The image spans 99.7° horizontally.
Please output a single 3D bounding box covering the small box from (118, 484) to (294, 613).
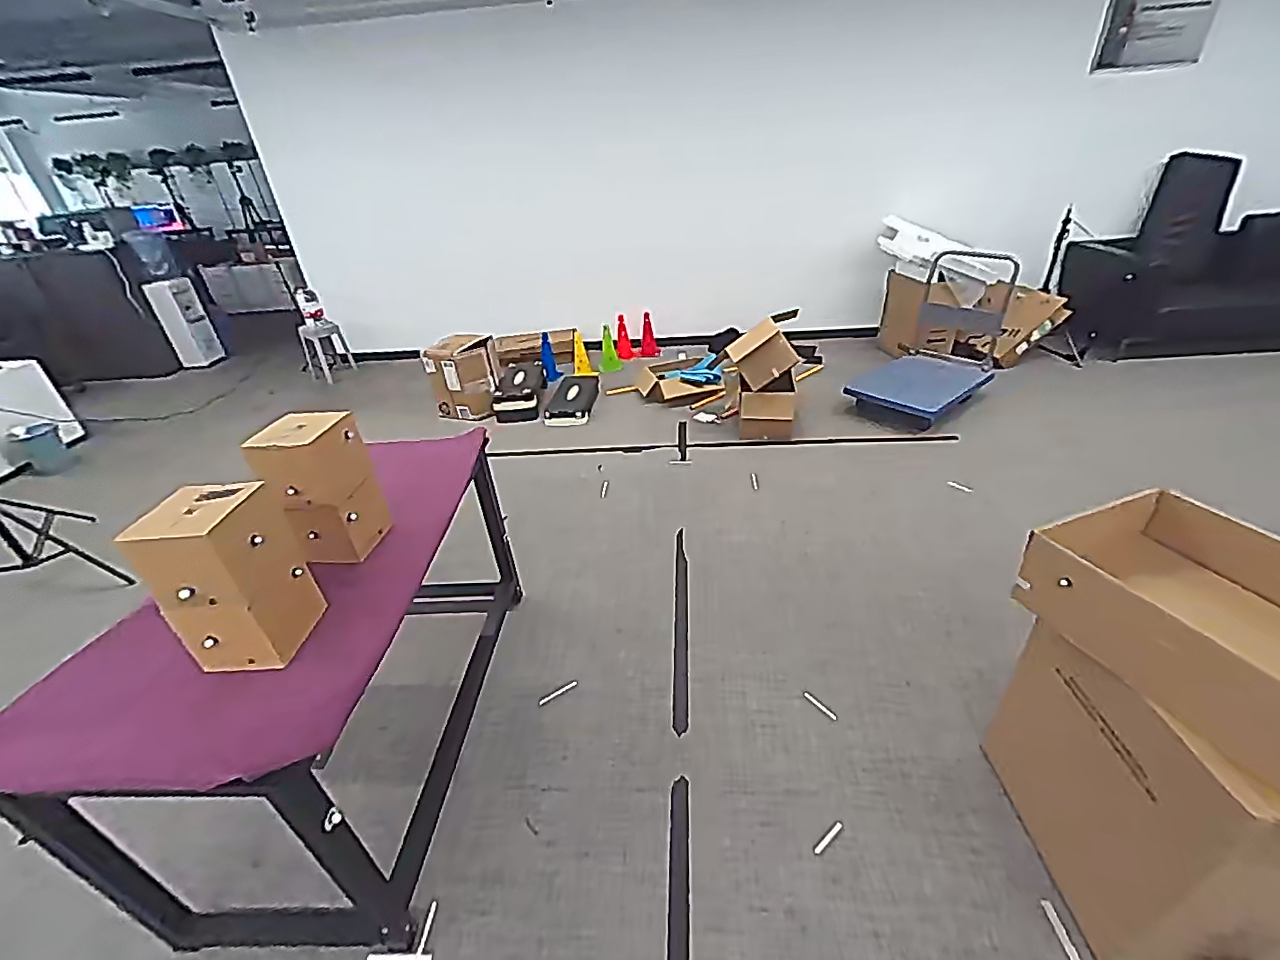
[{"bbox_3d":[-0.789,0.125,1.013,0.168,0.176,0.179,-4,31,2],"label":"small box"}]

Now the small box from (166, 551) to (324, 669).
[{"bbox_3d":[-0.782,0.267,1.097,0.168,0.176,0.179,-4,31,2],"label":"small box"}]

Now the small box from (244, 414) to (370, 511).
[{"bbox_3d":[-0.772,-0.043,1.281,0.168,0.176,0.179,-2,32,7],"label":"small box"}]
